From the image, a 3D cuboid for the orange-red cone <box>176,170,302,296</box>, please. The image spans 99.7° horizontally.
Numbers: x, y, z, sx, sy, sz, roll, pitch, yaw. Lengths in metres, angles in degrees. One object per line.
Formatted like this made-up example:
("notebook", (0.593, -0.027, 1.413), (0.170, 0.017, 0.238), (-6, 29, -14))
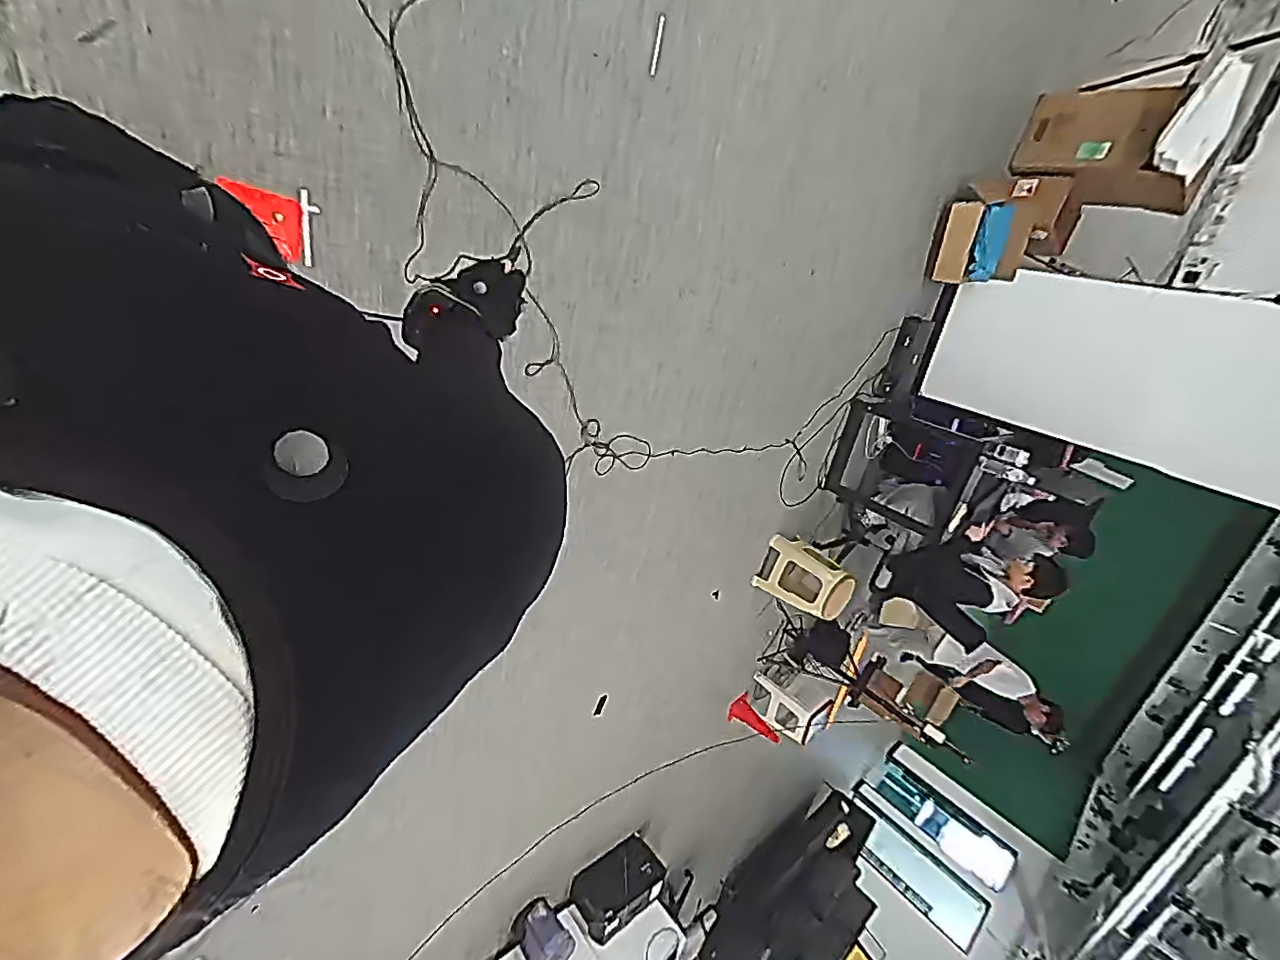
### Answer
("orange-red cone", (-0.697, -0.423, 0.977), (0.199, 0.360, 0.198), (2, 112, -44))
